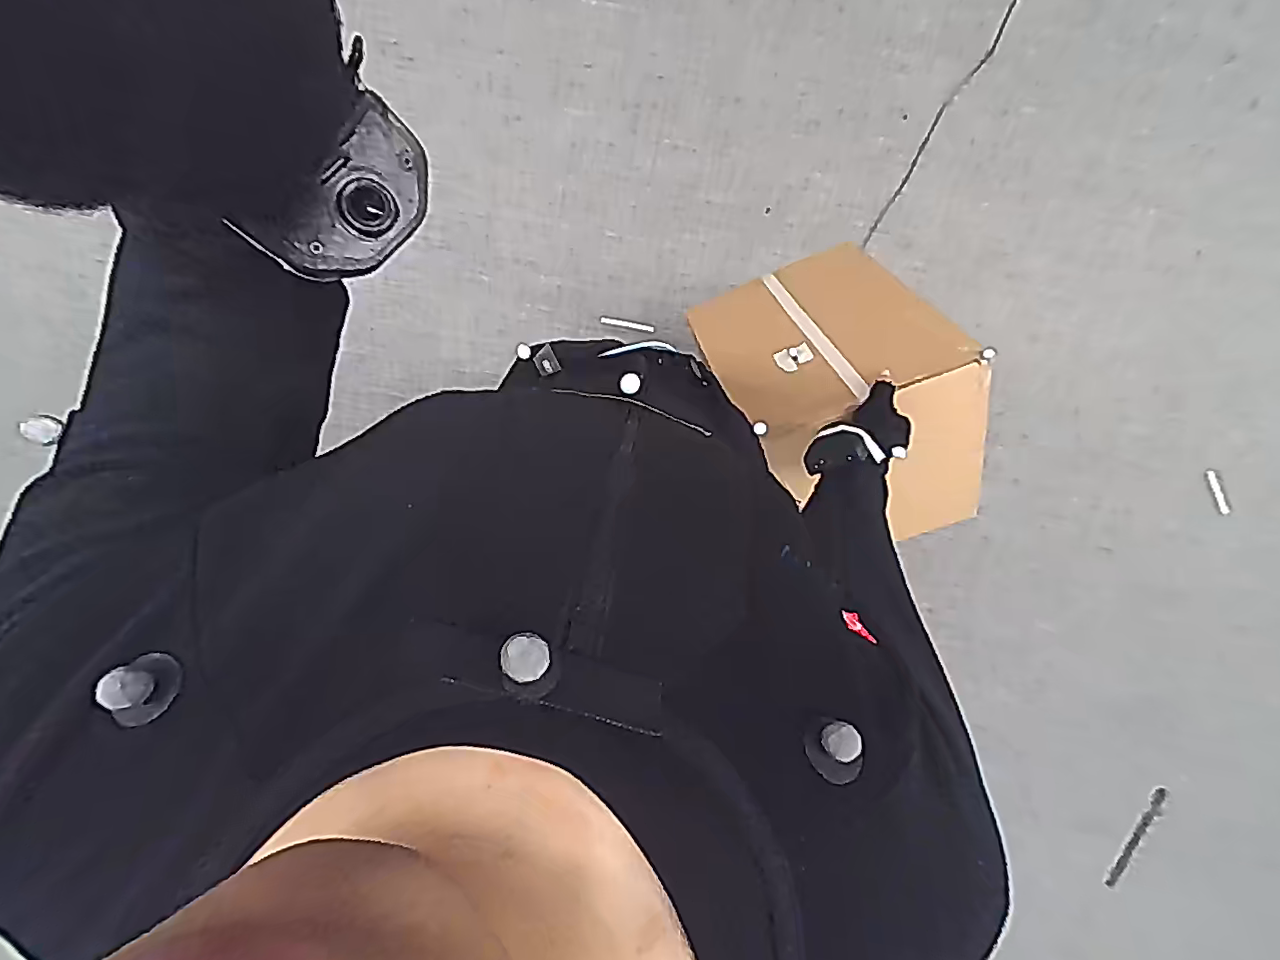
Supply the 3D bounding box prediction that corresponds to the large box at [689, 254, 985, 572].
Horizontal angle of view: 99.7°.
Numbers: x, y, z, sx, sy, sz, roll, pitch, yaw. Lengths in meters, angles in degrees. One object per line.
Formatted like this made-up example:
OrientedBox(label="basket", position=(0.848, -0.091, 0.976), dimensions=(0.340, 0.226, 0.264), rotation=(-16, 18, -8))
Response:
OrientedBox(label="large box", position=(0.307, -0.120, 0.933), dimensions=(0.320, 0.408, 0.320), rotation=(-20, 133, 8))
